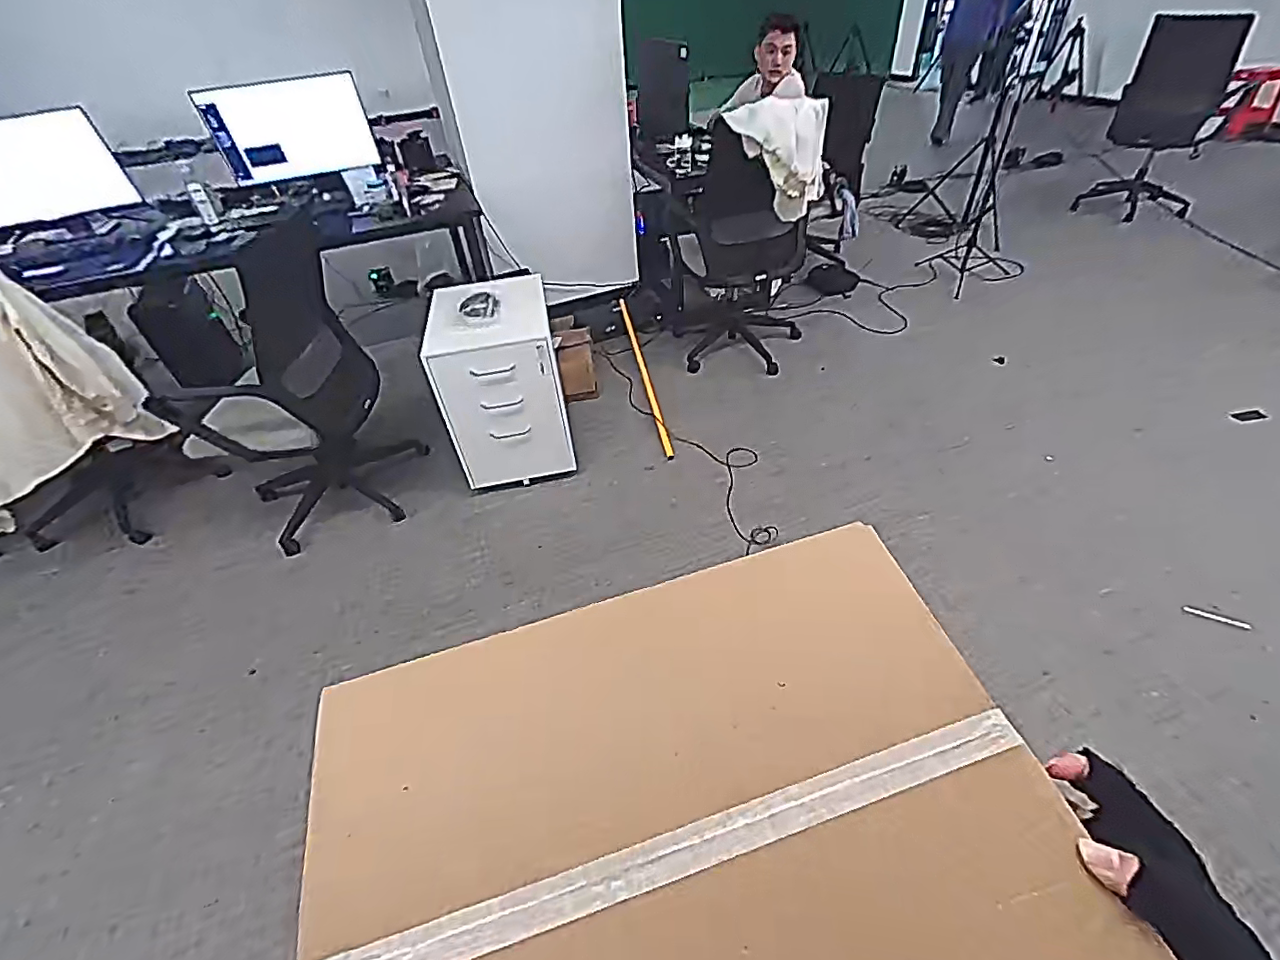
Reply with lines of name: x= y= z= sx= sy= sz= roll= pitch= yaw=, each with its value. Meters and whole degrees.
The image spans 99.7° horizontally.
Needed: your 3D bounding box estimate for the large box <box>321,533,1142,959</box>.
large box: x=0.036 y=0.298 z=0.421 sx=0.408 sy=0.320 sz=0.320 roll=-16 pitch=51 yaw=-7
